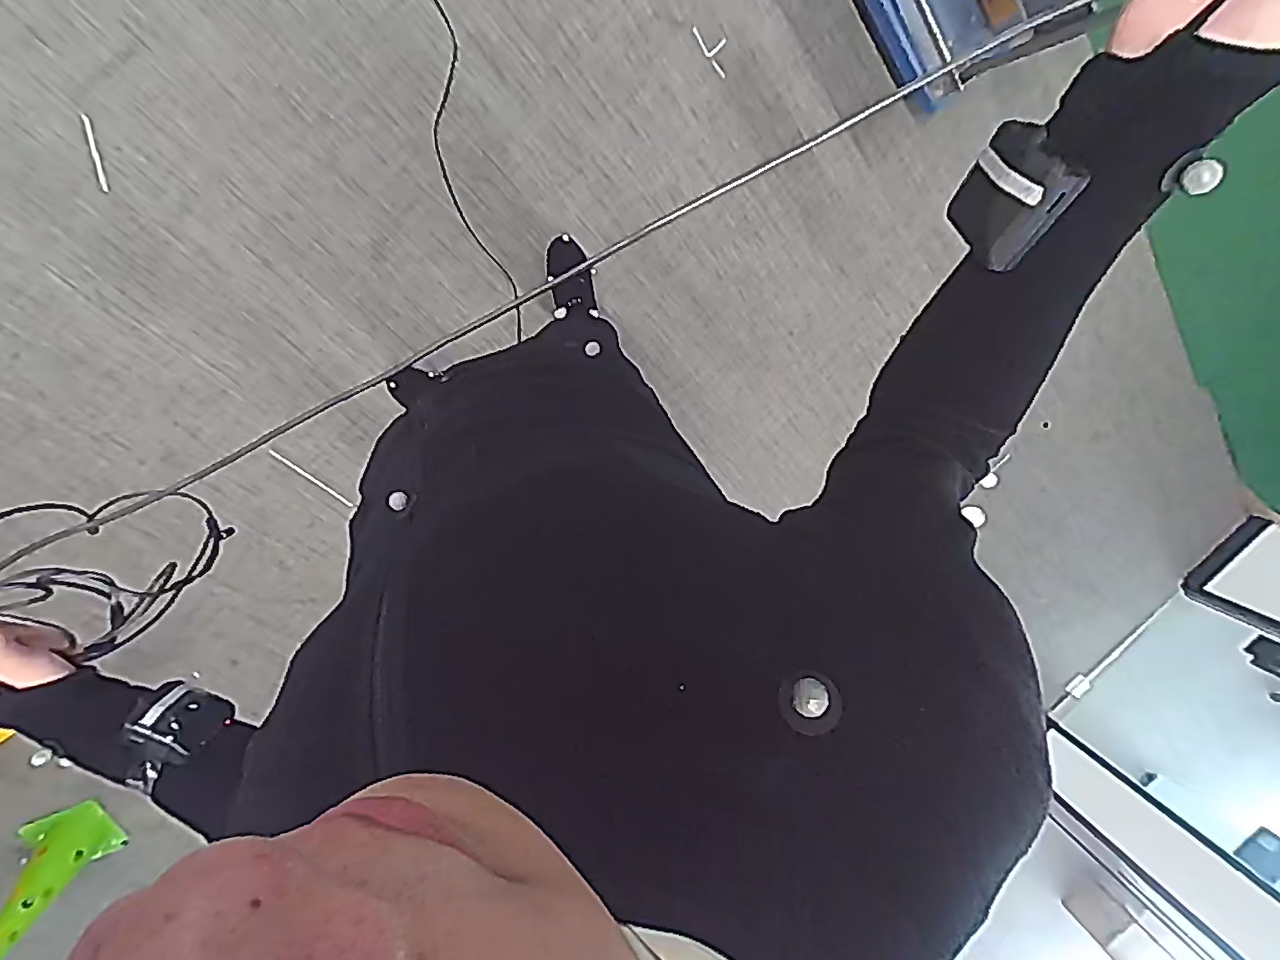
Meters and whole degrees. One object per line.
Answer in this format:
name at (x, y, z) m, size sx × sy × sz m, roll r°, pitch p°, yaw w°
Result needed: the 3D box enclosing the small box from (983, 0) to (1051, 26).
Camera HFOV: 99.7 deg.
small box at (0.921, -1.217, 1.246) m, size 0.179 × 0.176 × 0.168 m, roll -43°, pitch 114°, yaw 4°
